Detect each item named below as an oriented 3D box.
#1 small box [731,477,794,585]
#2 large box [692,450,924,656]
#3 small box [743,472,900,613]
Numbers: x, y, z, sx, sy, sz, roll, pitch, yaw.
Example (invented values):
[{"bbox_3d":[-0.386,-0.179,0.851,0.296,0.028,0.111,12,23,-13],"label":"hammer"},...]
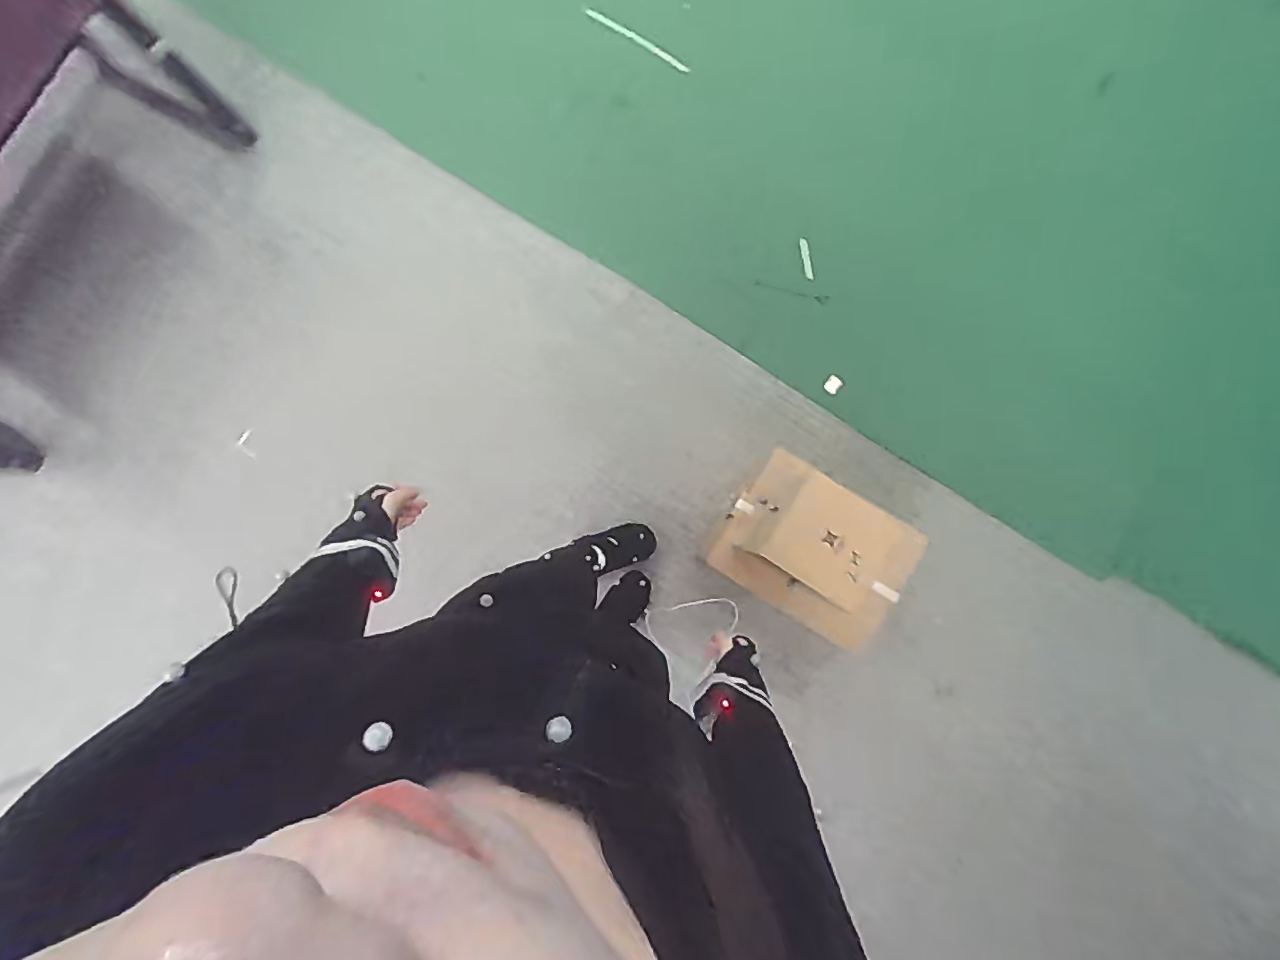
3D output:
[{"bbox_3d":[0.309,0.114,1.111,0.179,0.176,0.168,35,86,2],"label":"small box"},{"bbox_3d":[0.388,0.170,1.351,0.408,0.320,0.320,32,86,2],"label":"large box"},{"bbox_3d":[0.303,0.107,0.946,0.179,0.176,0.168,34,87,2],"label":"small box"}]
